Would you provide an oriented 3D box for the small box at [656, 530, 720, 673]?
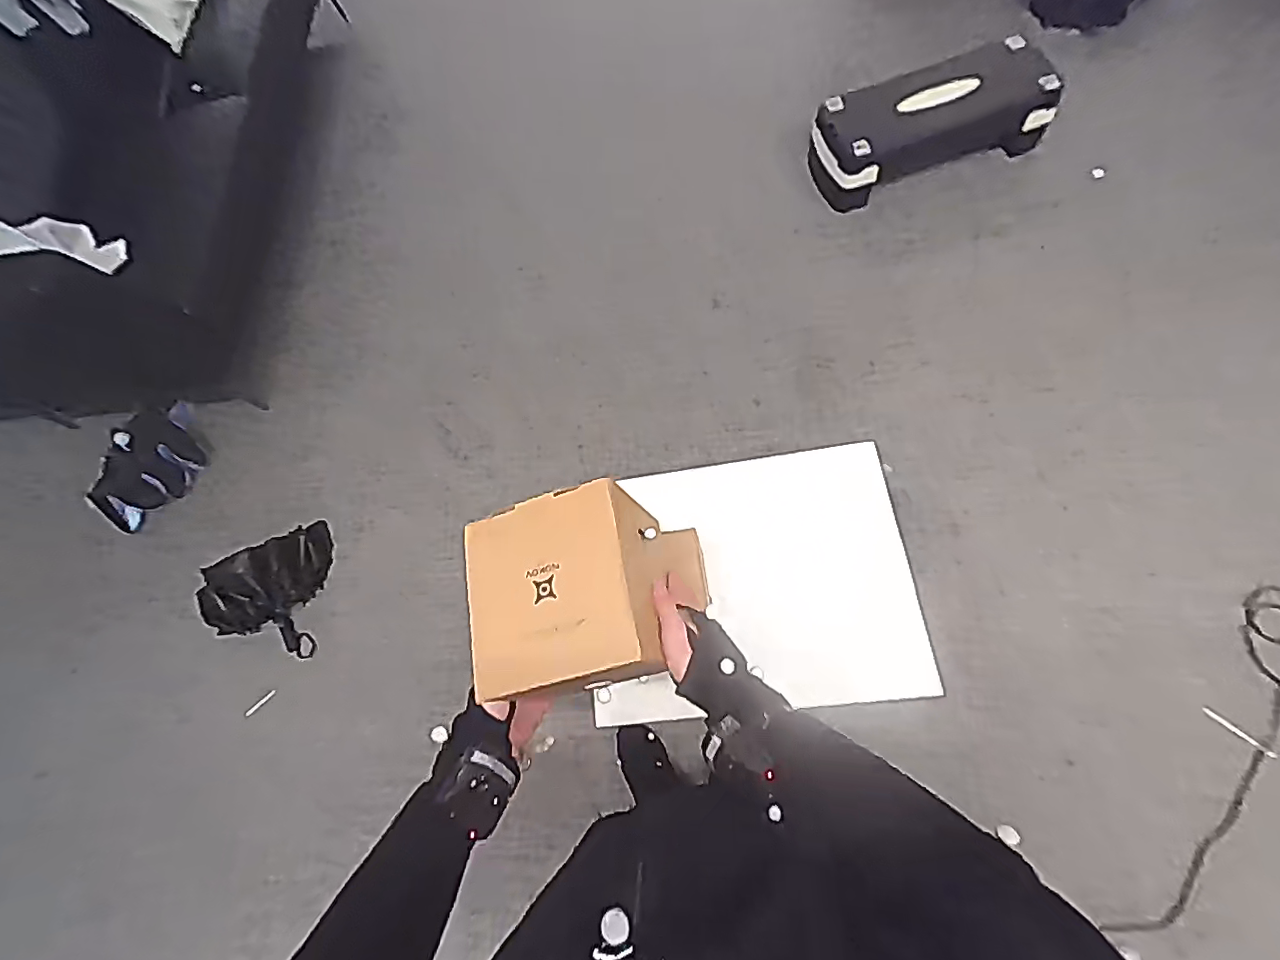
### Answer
[{"bbox_3d":[0.022,0.189,0.792,0.168,0.176,0.179,-10,68,7],"label":"small box"}]

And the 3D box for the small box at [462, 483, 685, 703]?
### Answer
[{"bbox_3d":[-0.065,0.128,0.573,0.168,0.176,0.179,-19,66,14],"label":"small box"}]
